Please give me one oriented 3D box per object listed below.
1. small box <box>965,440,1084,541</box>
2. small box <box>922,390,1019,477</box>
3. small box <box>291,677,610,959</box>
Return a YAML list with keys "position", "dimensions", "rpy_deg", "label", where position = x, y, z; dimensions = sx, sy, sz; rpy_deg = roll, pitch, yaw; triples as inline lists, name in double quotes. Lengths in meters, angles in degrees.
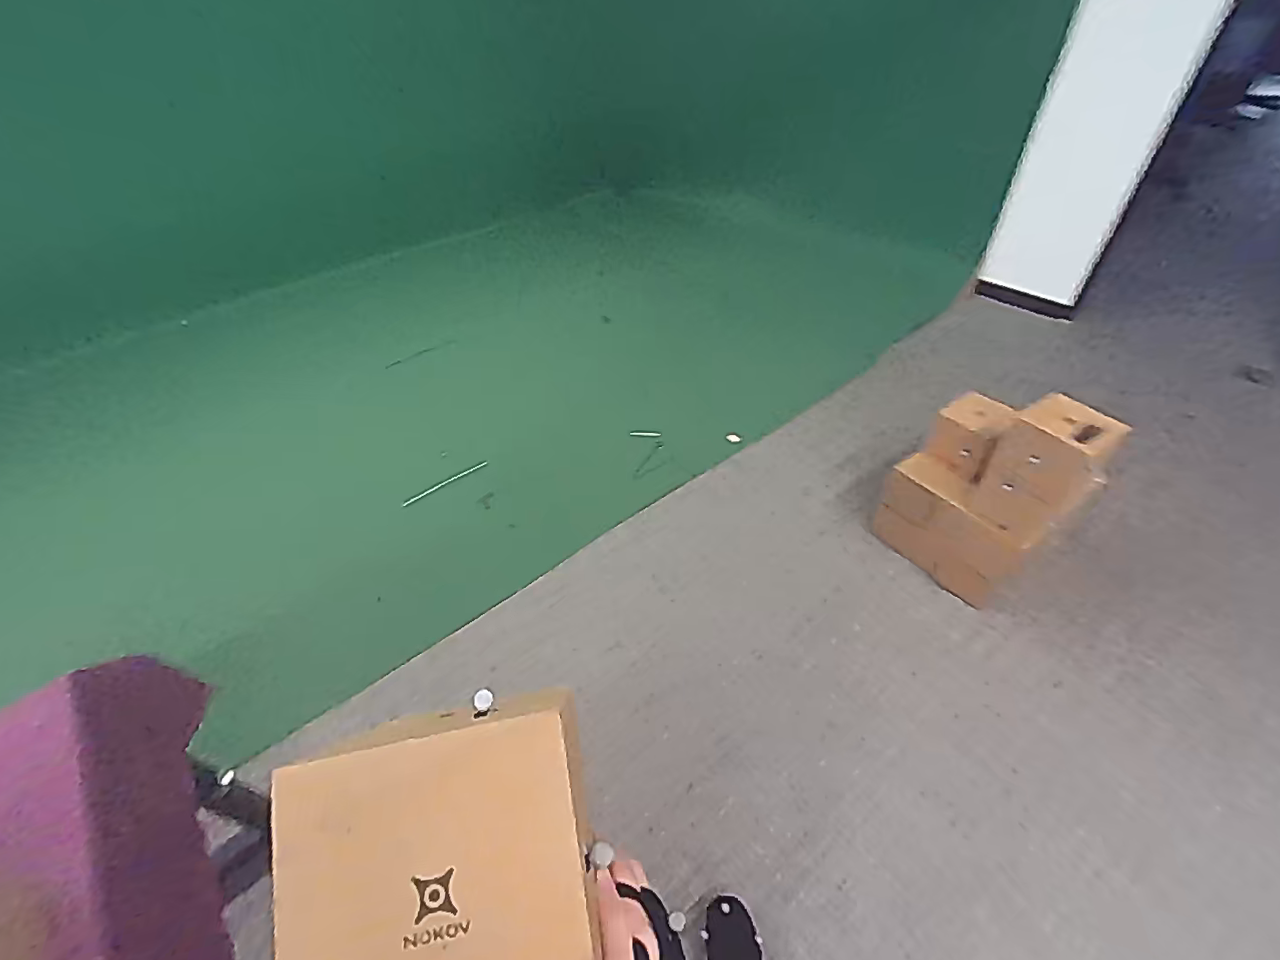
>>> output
- position: [1.012, 0.028, 1.440]
  dimensions: [0.179, 0.176, 0.168]
  rpy_deg: [-25, 48, -21]
  label: "small box"
- position: [0.977, -0.137, 1.618]
  dimensions: [0.179, 0.176, 0.168]
  rpy_deg: [-27, 48, -23]
  label: "small box"
- position: [-0.115, 0.244, 0.381]
  dimensions: [0.168, 0.176, 0.179]
  rpy_deg: [-8, 77, -7]
  label: "small box"
